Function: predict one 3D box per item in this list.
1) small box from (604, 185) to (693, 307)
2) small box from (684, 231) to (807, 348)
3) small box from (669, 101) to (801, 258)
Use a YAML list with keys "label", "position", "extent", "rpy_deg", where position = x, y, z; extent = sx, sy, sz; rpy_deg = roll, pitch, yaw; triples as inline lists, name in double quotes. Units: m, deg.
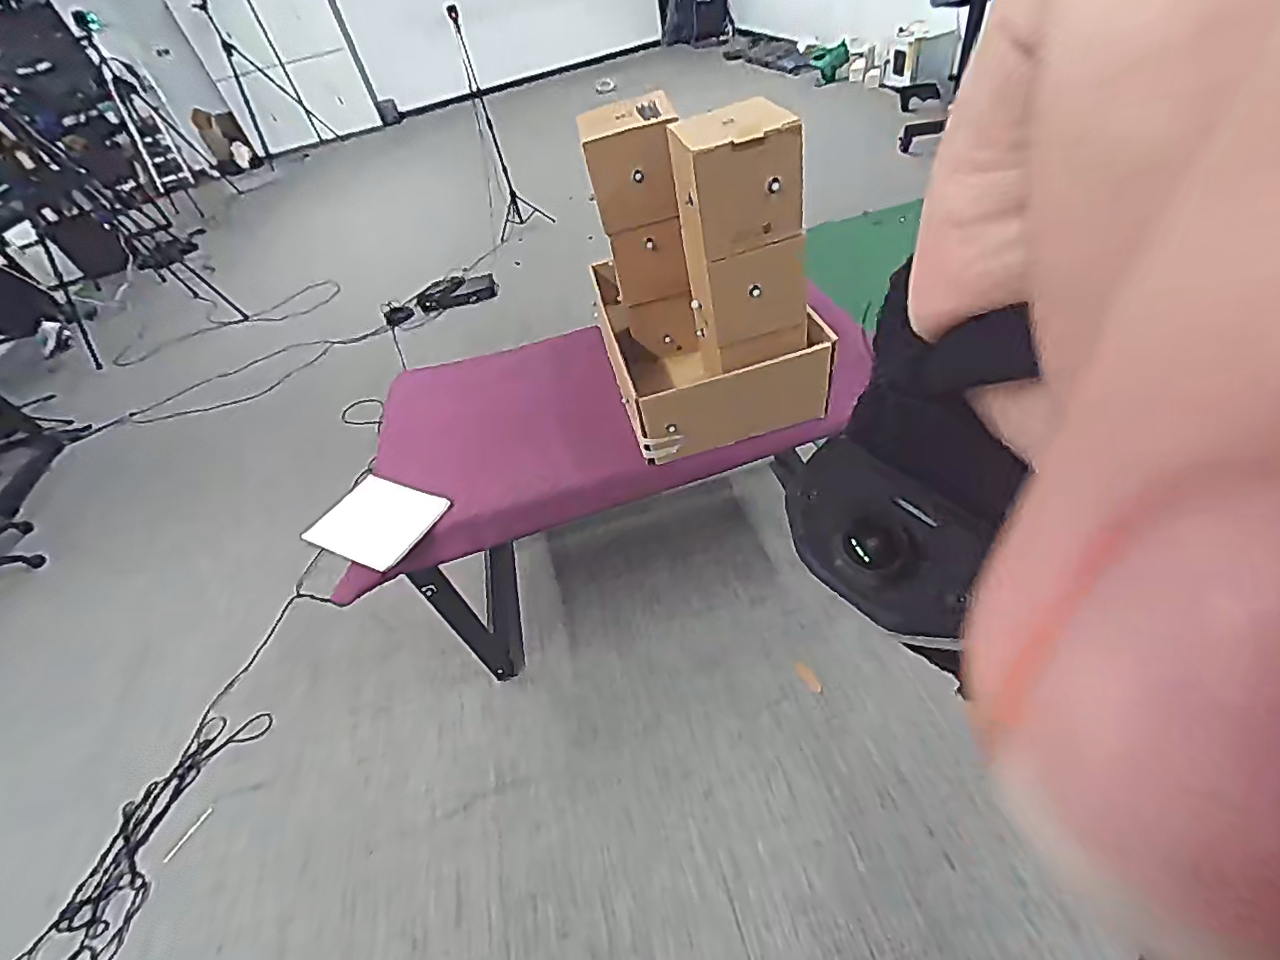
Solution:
- label: "small box"
  position: [0.029, -0.503, 1.171]
  extent: [0.179, 0.176, 0.168]
  rpy_deg: [-13, 49, 4]
- label: "small box"
  position: [0.194, -0.372, 0.997]
  extent: [0.179, 0.176, 0.168]
  rpy_deg: [-17, 45, 2]
- label: "small box"
  position: [0.156, -0.486, 0.887]
  extent: [0.168, 0.176, 0.179]
  rpy_deg: [-16, 45, 1]
